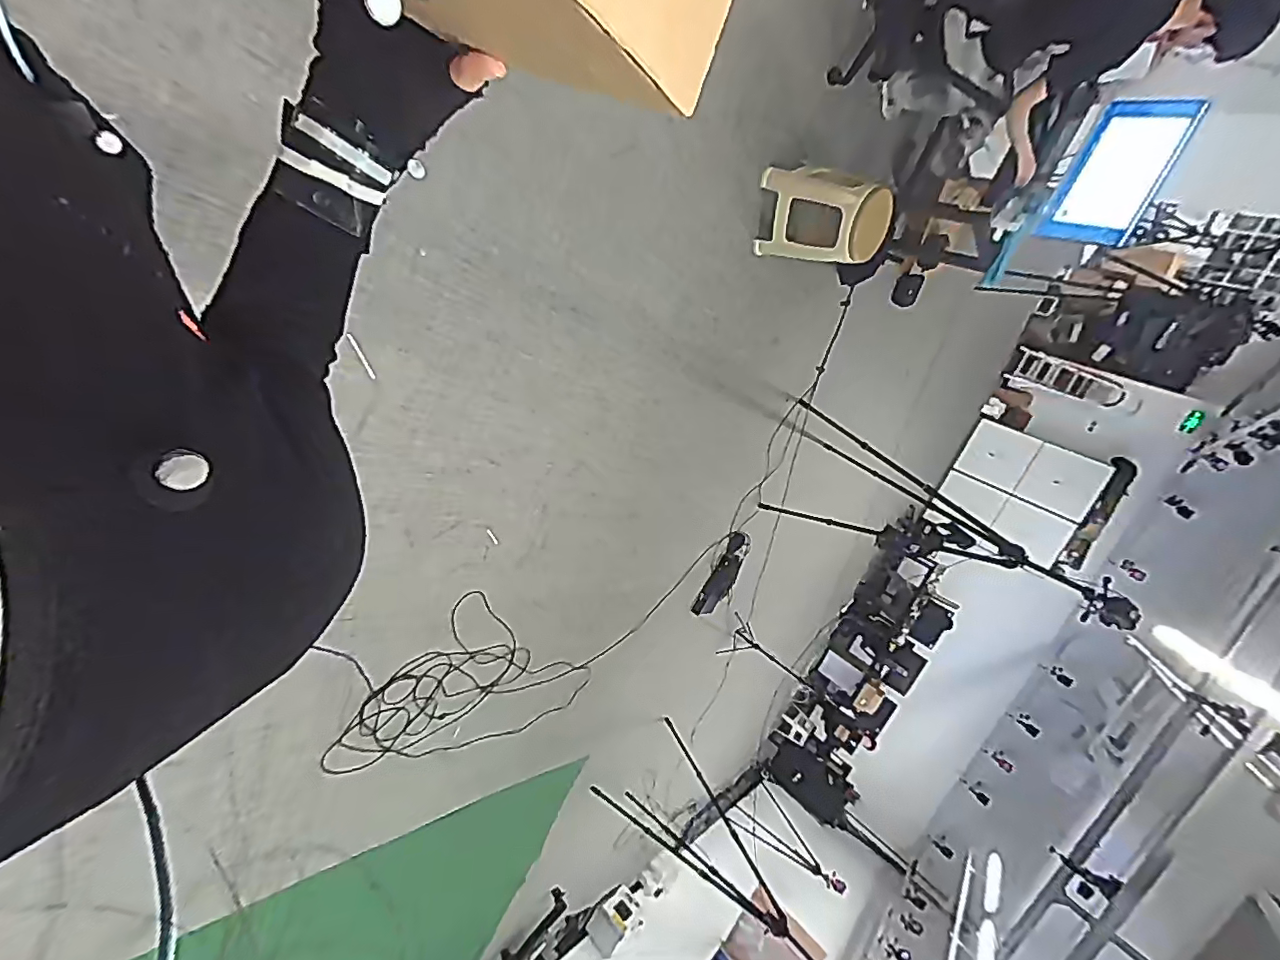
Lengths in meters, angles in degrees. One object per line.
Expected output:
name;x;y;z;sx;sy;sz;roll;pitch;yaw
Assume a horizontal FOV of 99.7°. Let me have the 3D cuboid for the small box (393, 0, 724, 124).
small box;-0.052;-0.278;0.201;0.179;0.176;0.168;-19;138;-61
